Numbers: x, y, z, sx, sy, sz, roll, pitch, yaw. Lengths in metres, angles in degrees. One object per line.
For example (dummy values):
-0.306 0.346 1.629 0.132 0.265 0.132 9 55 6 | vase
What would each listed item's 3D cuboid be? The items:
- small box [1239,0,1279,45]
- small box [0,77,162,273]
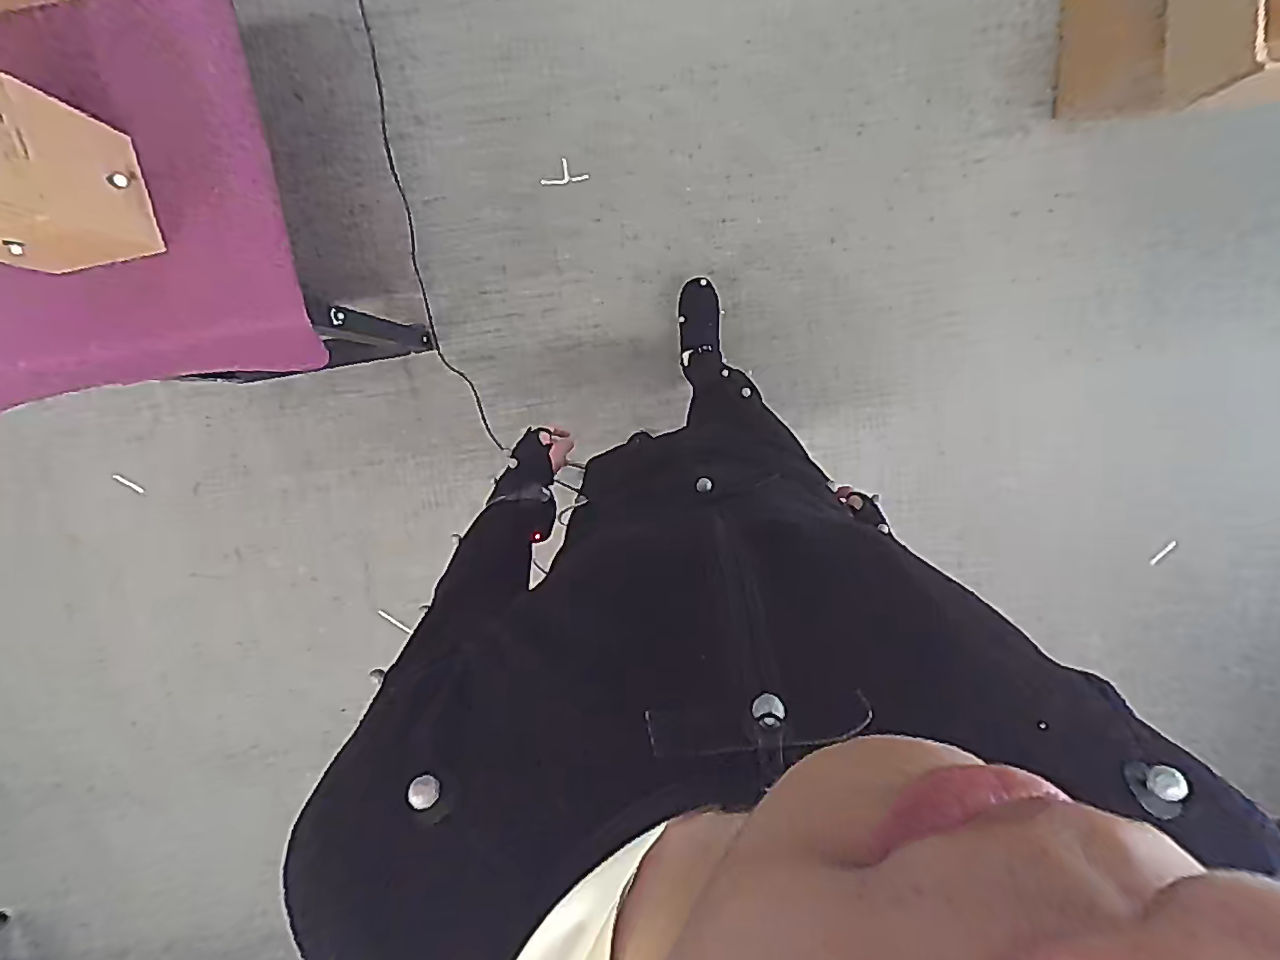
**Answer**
1.279 -0.938 0.987 0.179 0.176 0.168 -5 100 0 | small box
-0.808 -0.387 0.719 0.179 0.176 0.168 -11 99 1 | small box
